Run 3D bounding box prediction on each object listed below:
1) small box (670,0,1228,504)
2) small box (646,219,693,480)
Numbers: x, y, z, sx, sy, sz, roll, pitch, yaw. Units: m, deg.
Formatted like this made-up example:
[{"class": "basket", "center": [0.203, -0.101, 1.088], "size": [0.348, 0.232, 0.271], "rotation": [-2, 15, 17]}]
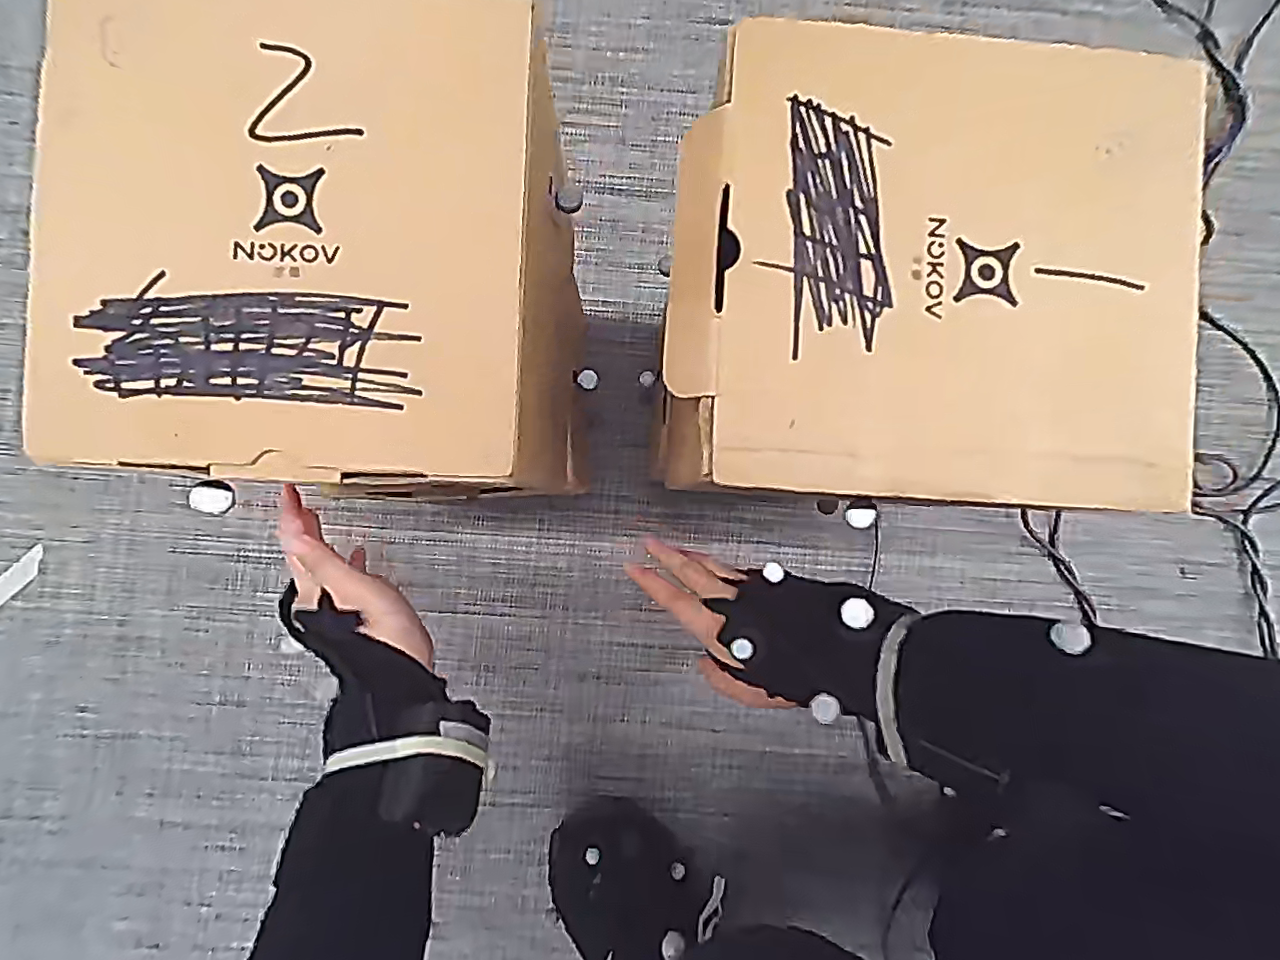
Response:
[{"class": "small box", "center": [0.111, -0.076, 0.264], "size": [0.179, 0.176, 0.168], "rotation": [4, 88, -2]}, {"class": "small box", "center": [0.103, -0.078, 0.427], "size": [0.179, 0.176, 0.168], "rotation": [6, 88, -2]}]
